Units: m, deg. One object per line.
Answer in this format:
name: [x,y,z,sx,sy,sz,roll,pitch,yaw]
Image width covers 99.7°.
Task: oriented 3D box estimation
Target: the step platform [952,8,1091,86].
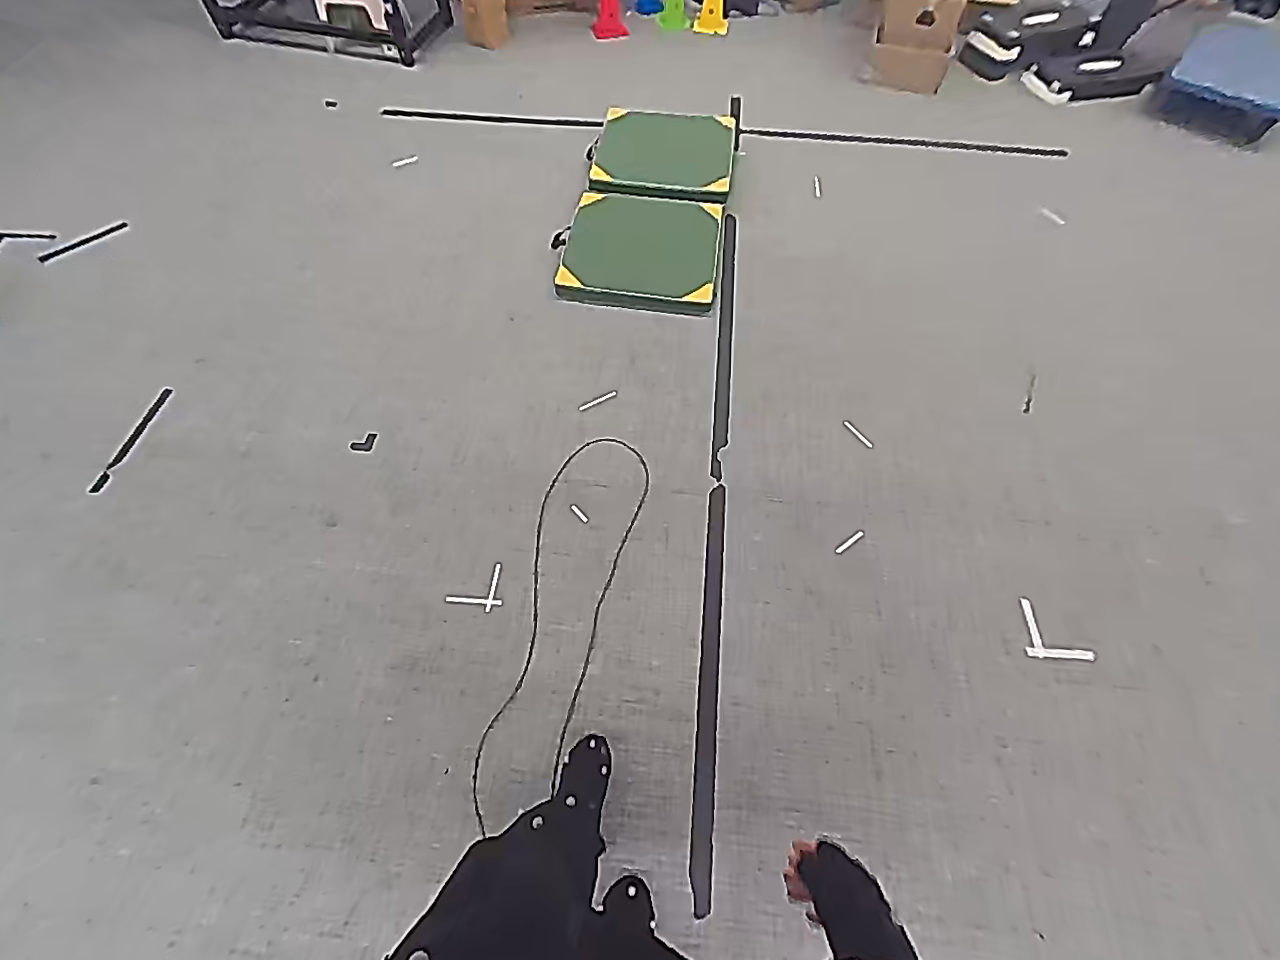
step platform: [2.119,-2.408,3.000,0.684,0.204,0.286,-20,62,-12]
